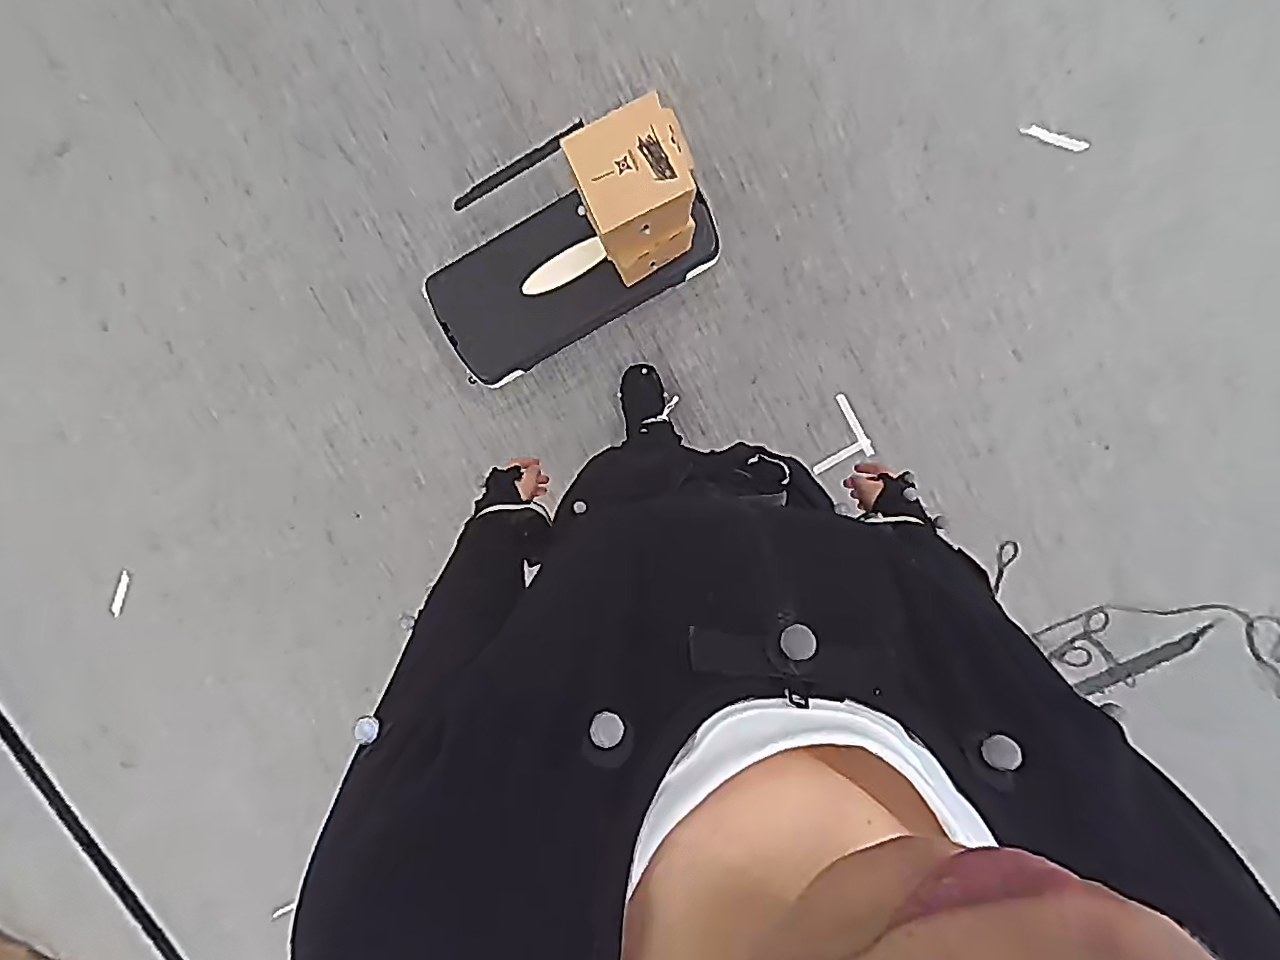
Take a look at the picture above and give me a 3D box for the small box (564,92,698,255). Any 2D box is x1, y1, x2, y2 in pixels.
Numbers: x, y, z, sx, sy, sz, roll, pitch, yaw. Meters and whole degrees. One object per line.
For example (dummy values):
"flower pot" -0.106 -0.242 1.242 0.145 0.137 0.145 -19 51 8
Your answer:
"small box" -0.015 -0.530 0.961 0.179 0.176 0.168 -25 98 5

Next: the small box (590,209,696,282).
"small box" -0.002 -0.544 1.125 0.168 0.176 0.179 -30 97 5
